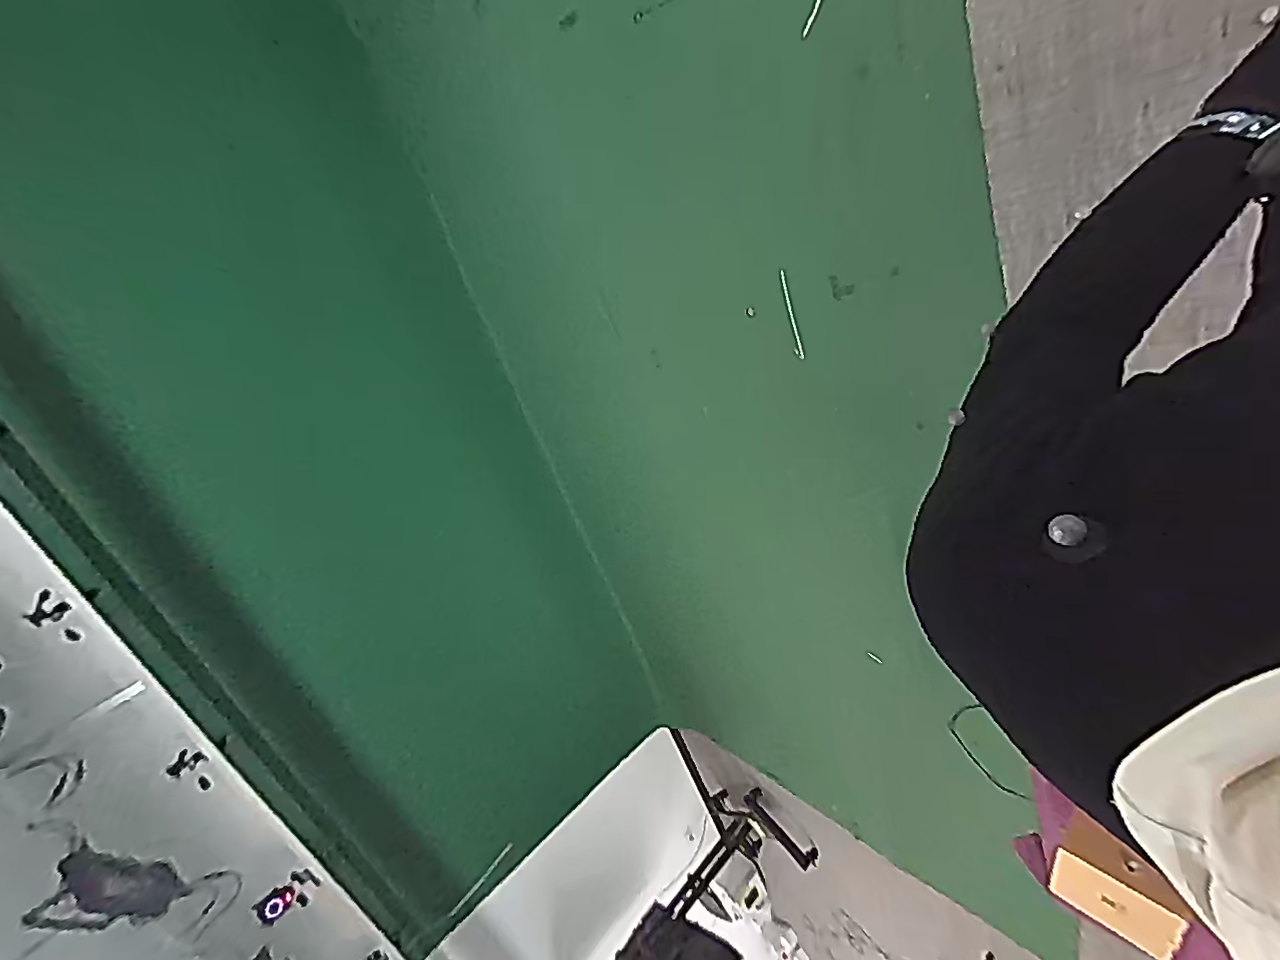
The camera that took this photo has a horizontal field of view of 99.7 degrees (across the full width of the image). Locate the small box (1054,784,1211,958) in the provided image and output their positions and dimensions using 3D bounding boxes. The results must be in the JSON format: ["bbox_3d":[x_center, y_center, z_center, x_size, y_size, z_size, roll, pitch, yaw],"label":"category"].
[{"bbox_3d":[0.912,0.710,1.008,0.179,0.176,0.168,17,132,46],"label":"small box"}]
